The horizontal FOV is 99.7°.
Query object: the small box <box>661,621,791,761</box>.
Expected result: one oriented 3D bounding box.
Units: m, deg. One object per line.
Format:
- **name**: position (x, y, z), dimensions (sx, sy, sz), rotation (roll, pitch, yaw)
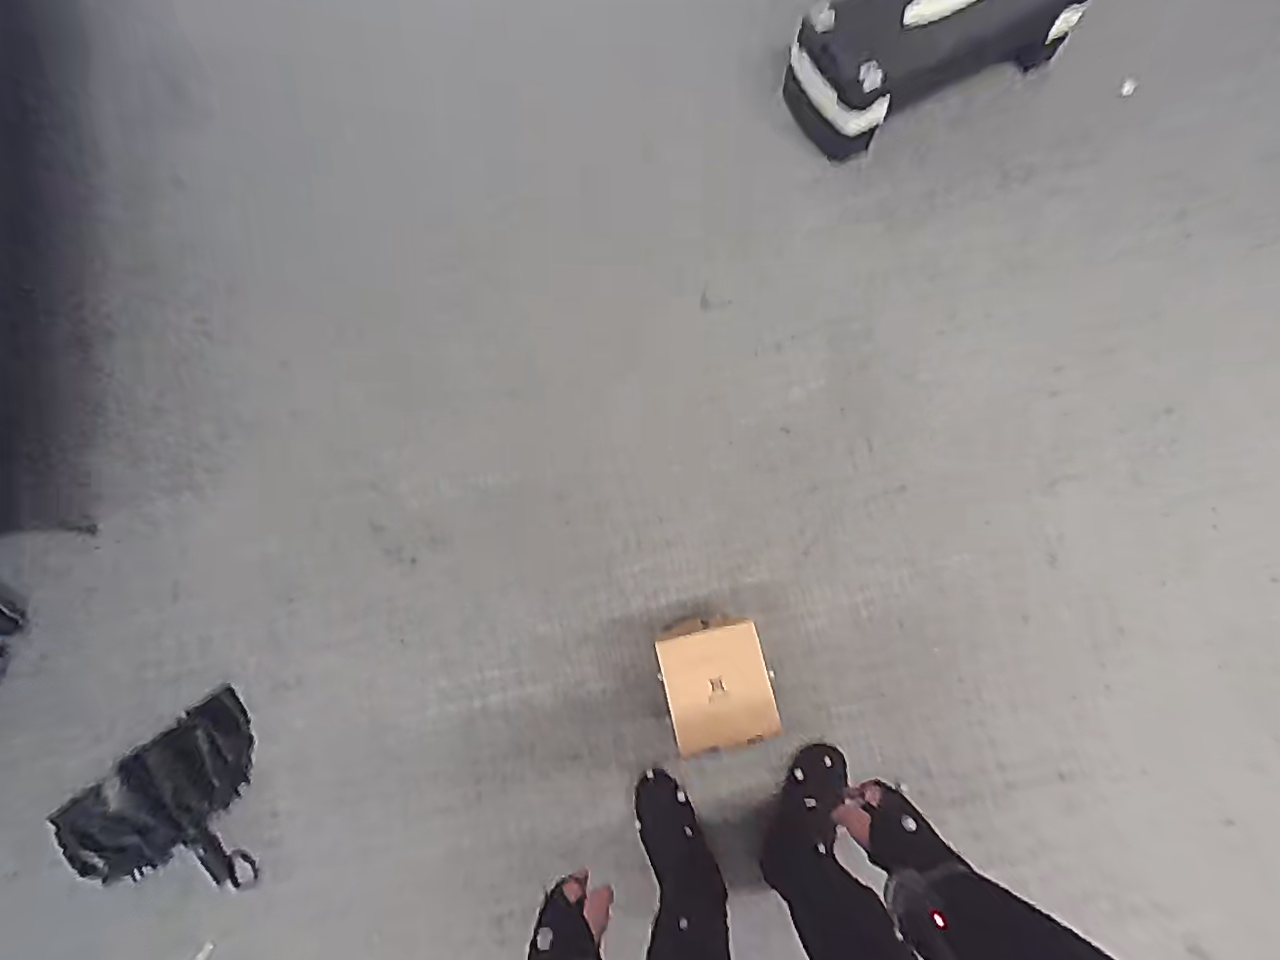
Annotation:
- **small box**: position (0.139, 0.345, 0.917), dimensions (0.168, 0.176, 0.179), rotation (-15, 76, 0)
